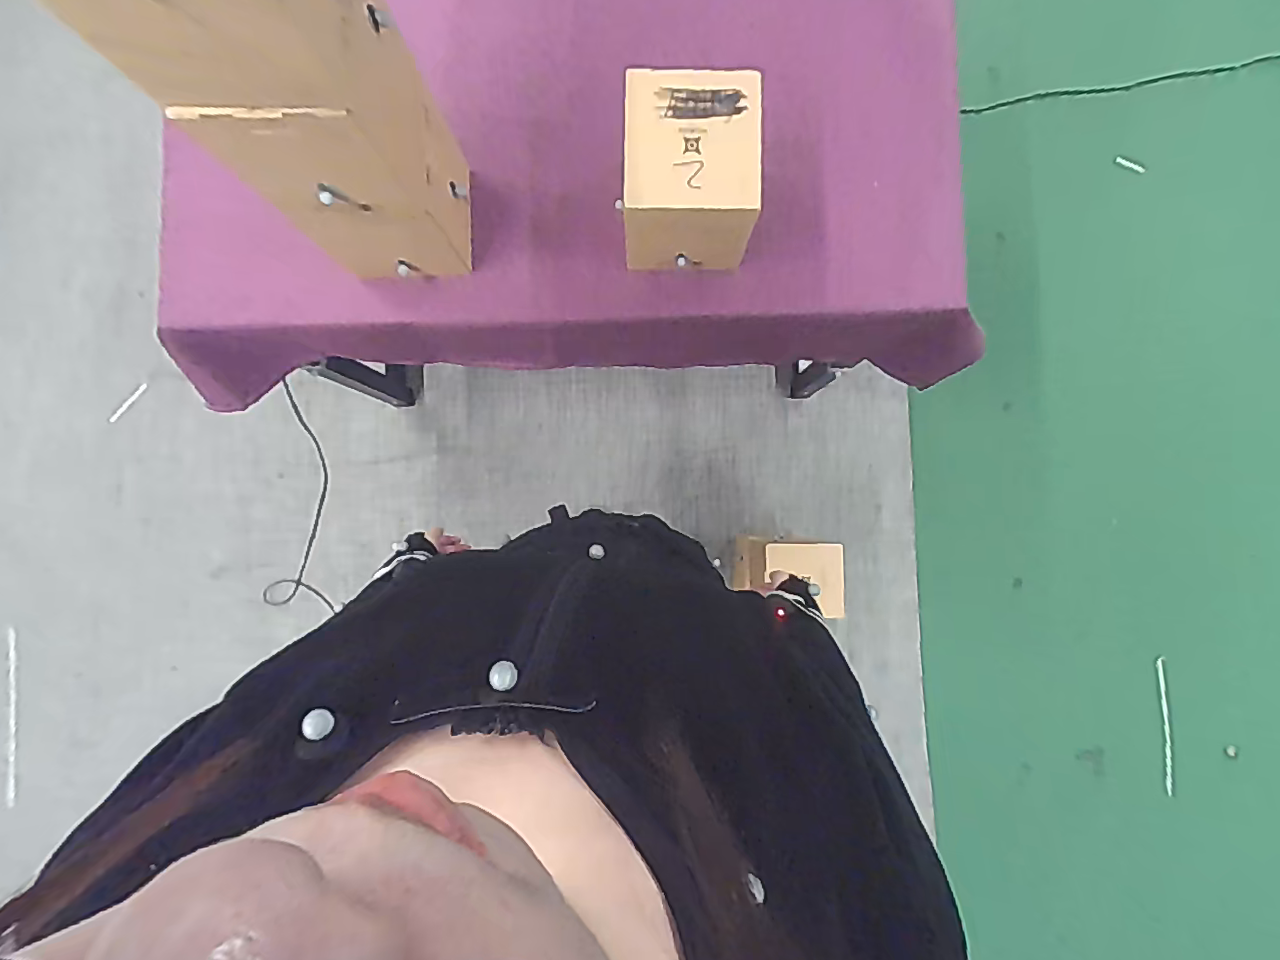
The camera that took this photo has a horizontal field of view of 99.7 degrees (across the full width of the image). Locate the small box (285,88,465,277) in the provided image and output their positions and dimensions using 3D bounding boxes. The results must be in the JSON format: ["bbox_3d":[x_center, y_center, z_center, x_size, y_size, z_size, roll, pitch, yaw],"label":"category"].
[{"bbox_3d":[-0.343,-0.389,0.732,0.179,0.176,0.168,-3,87,-1],"label":"small box"}]

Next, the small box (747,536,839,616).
[{"bbox_3d":[0.353,0.221,1.275,0.179,0.176,0.168,0,88,-1],"label":"small box"}]

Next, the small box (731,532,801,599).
[{"bbox_3d":[0.343,0.227,1.437,0.179,0.176,0.168,3,87,-1],"label":"small box"}]

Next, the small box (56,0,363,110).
[{"bbox_3d":[-0.335,-0.413,0.403,0.179,0.176,0.168,1,87,-1],"label":"small box"}]

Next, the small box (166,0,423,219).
[{"bbox_3d":[-0.341,-0.403,0.568,0.168,0.176,0.179,-1,87,0],"label":"small box"}]
